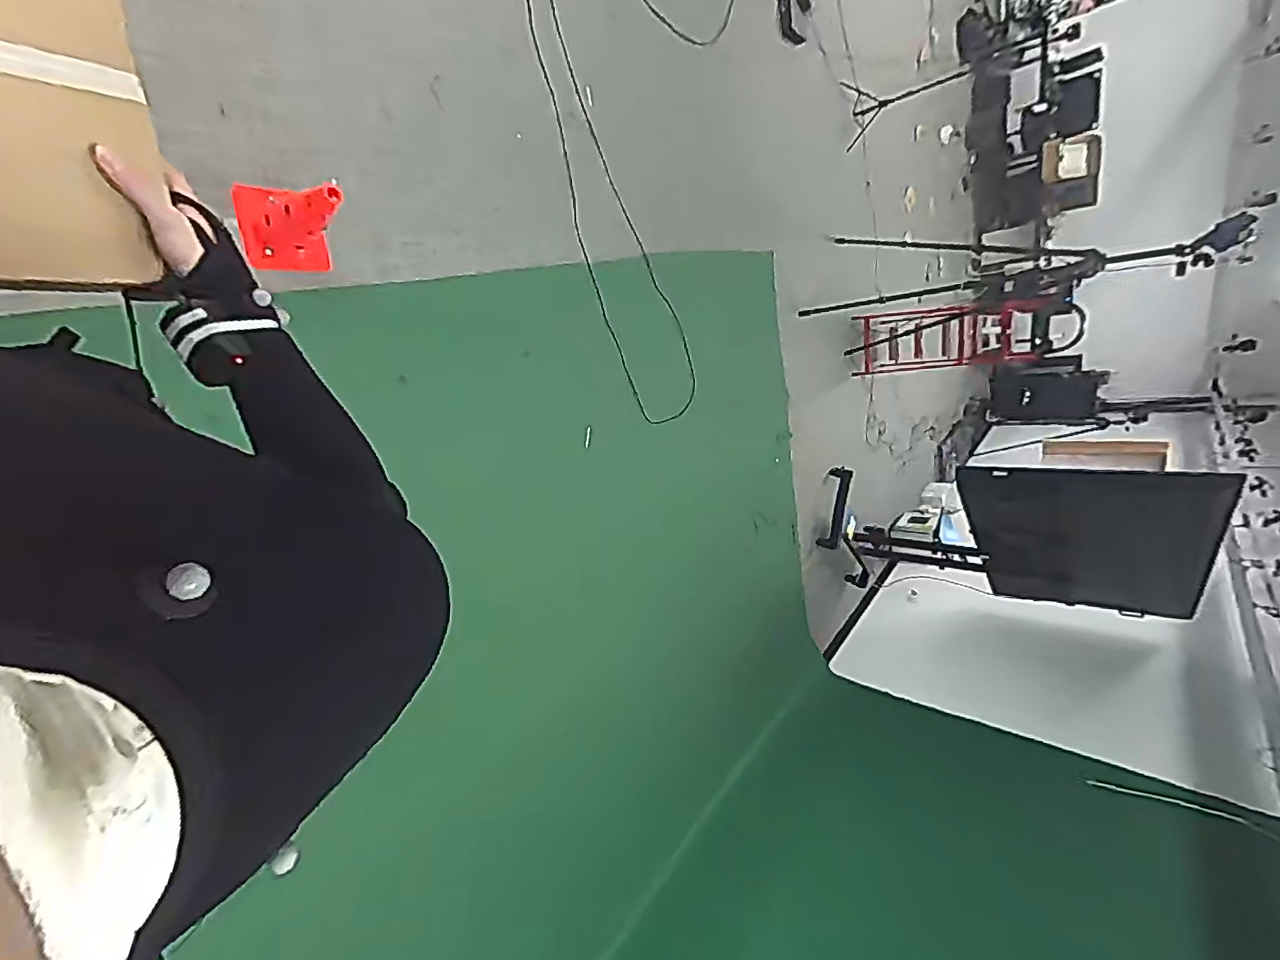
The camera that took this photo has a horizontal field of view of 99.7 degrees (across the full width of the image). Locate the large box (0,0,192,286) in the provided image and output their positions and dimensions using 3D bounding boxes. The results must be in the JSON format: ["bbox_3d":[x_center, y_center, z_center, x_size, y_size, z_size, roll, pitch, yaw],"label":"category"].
[{"bbox_3d":[-0.671,-0.319,0.418,0.408,0.320,0.320,-20,117,-47],"label":"large box"}]

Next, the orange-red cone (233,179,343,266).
[{"bbox_3d":[-0.802,-0.652,1.301,0.199,0.360,0.198,-20,110,-47],"label":"orange-red cone"}]
